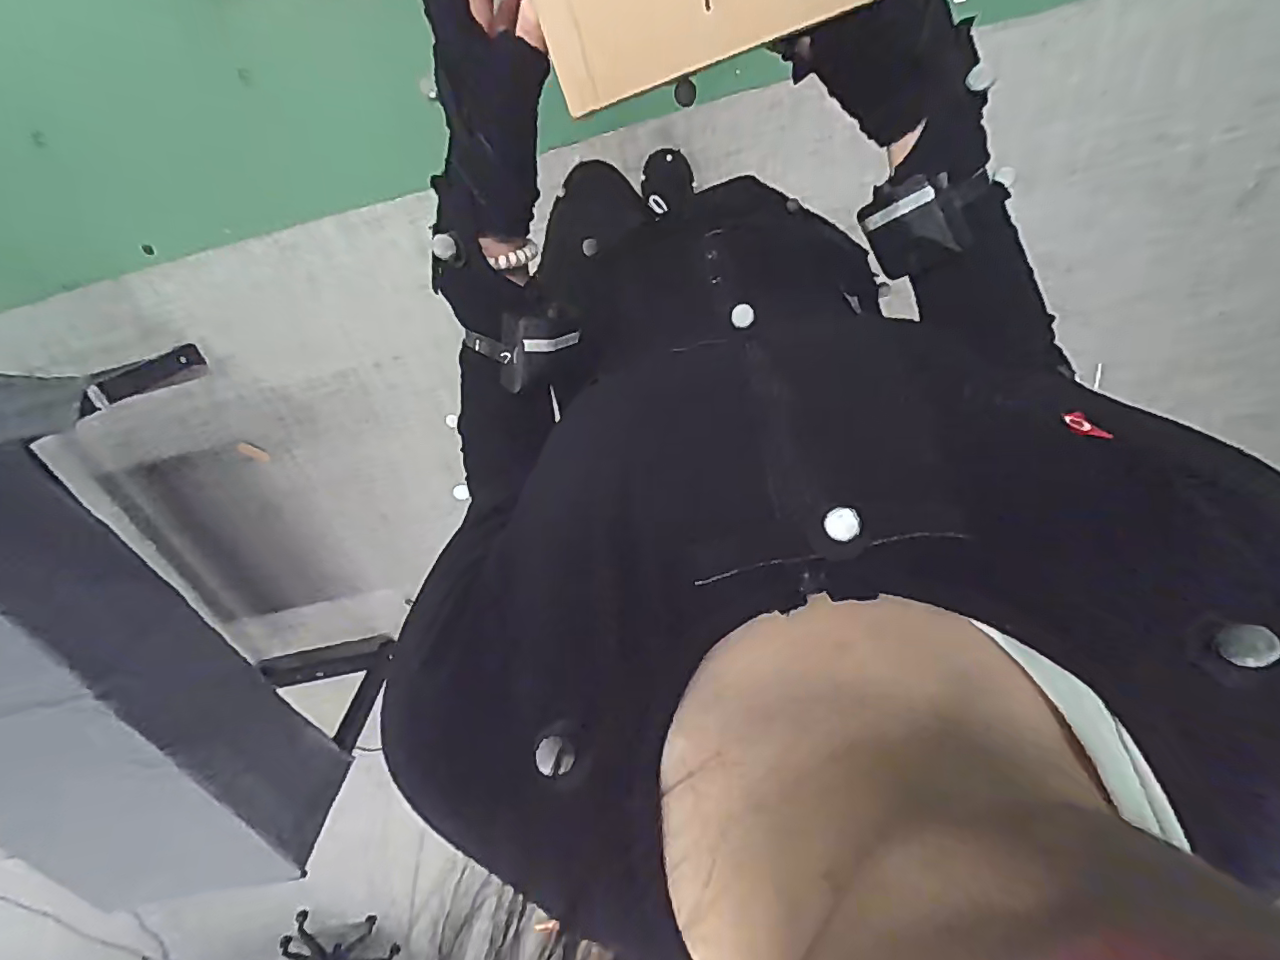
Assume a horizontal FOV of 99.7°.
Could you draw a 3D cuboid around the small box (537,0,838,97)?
[{"bbox_3d":[0.009,-0.332,0.288,0.168,0.176,0.179,-16,125,7],"label":"small box"}]
